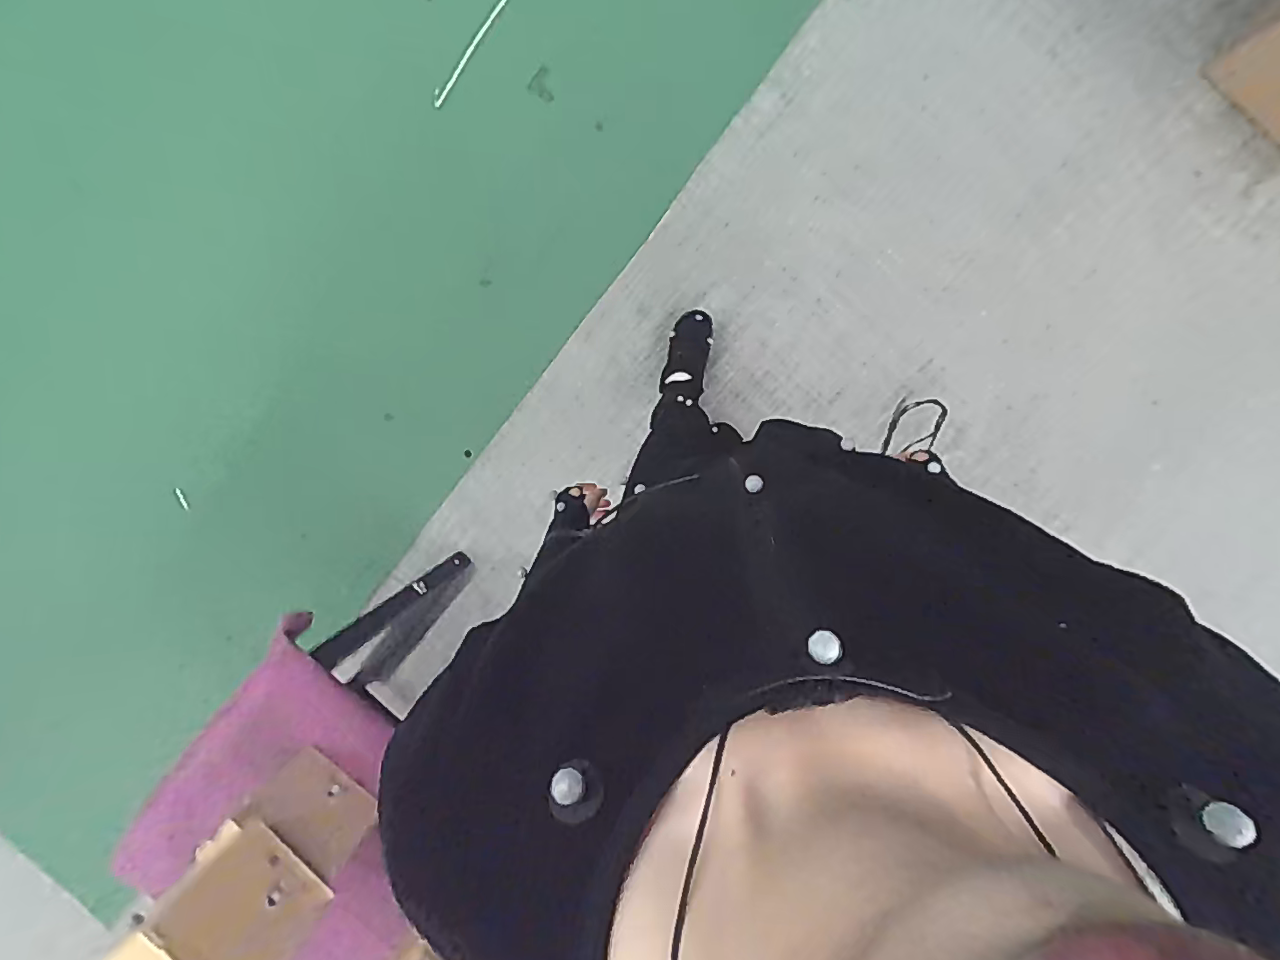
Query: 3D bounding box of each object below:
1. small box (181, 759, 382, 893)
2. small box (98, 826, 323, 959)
[{"bbox_3d":[-0.569,0.593,0.878,0.179,0.176,0.168,41,104,0],"label":"small box"},{"bbox_3d":[-0.571,0.615,0.715,0.179,0.176,0.168,-41,92,12],"label":"small box"}]
